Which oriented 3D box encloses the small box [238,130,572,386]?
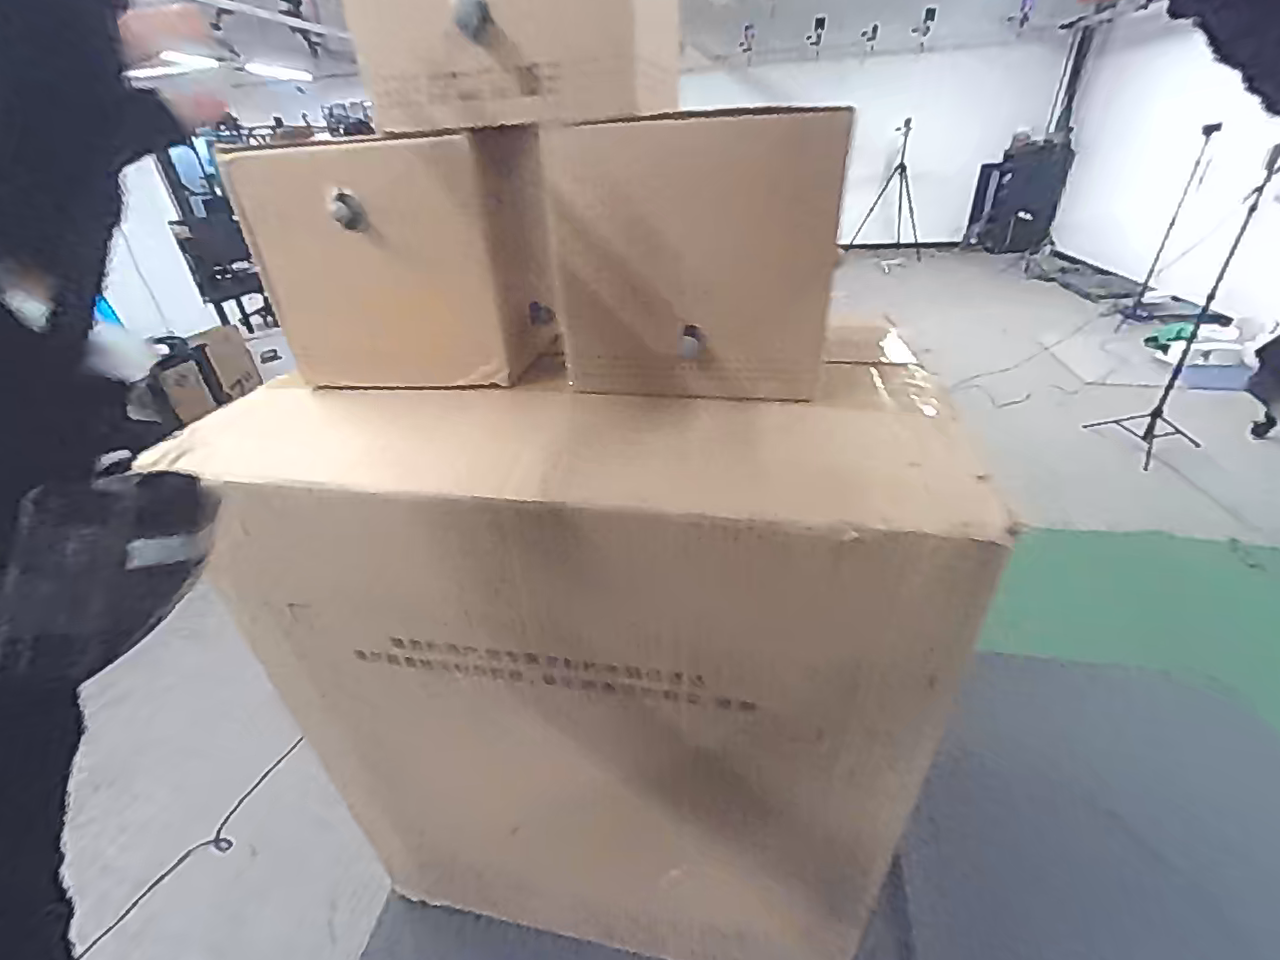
[{"bbox_3d":[-0.165,-0.185,0.449,0.179,0.176,0.168,2,33,8],"label":"small box"}]

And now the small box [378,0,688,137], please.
[{"bbox_3d":[-0.060,-0.323,0.349,0.168,0.176,0.179,3,34,11],"label":"small box"}]

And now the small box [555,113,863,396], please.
[{"bbox_3d":[0.053,-0.171,0.410,0.179,0.176,0.168,3,32,10],"label":"small box"}]
